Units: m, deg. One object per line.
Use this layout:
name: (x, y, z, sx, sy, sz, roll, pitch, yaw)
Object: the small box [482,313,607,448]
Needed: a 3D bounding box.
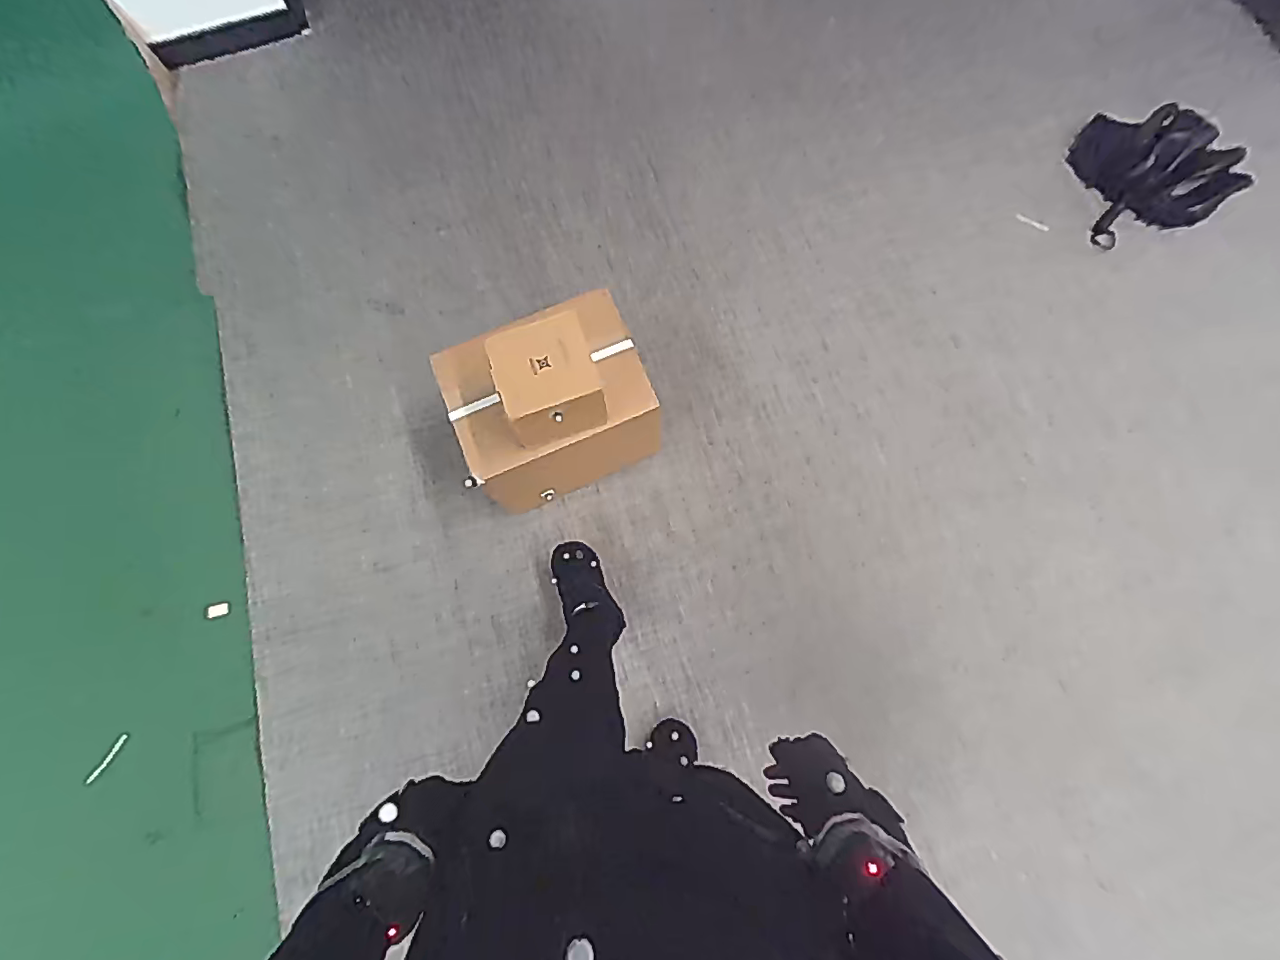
small box: (-0.171, -0.179, 1.023, 0.179, 0.176, 0.168, -20, 77, -5)
